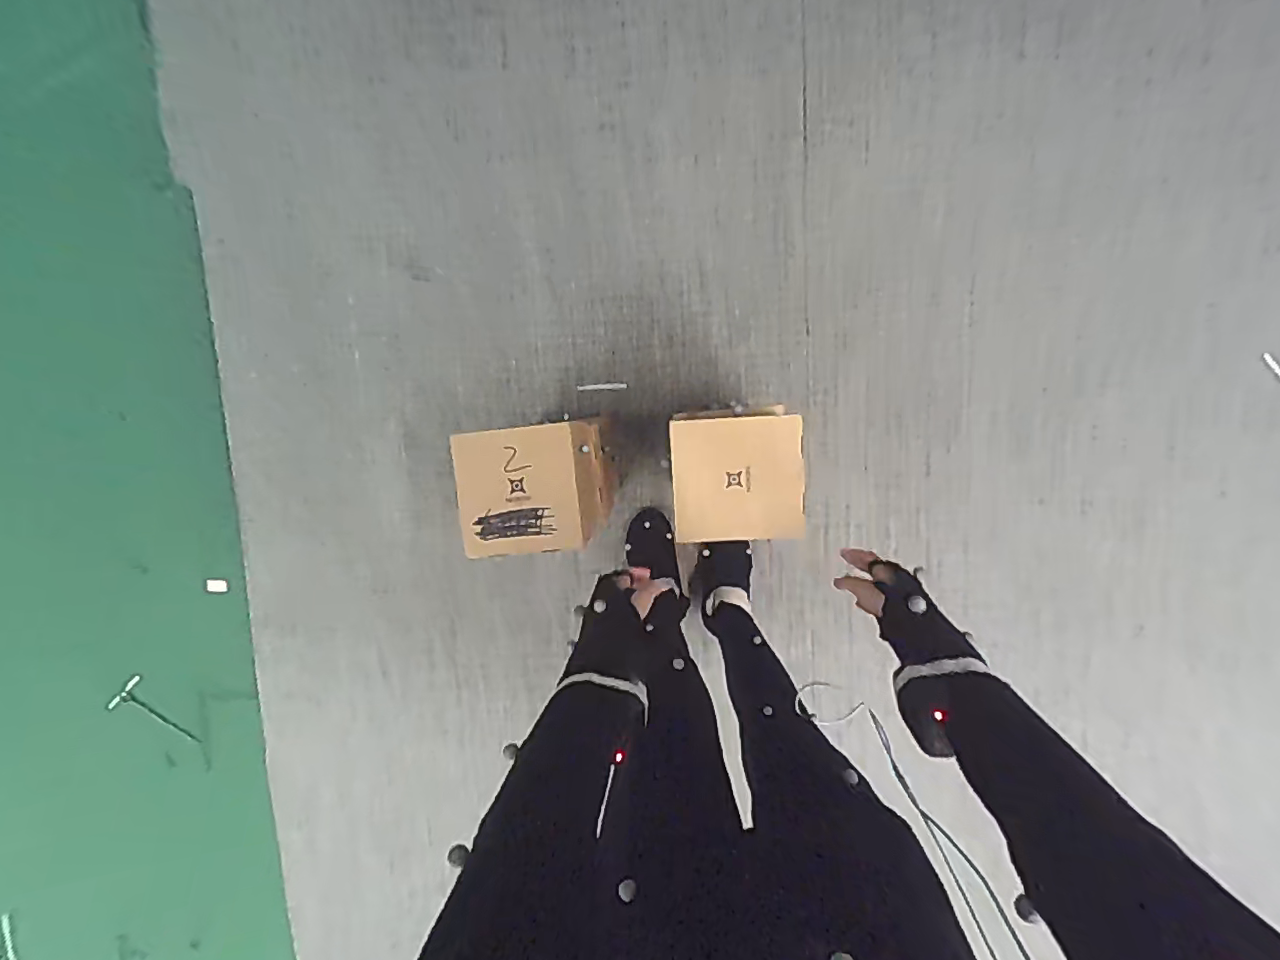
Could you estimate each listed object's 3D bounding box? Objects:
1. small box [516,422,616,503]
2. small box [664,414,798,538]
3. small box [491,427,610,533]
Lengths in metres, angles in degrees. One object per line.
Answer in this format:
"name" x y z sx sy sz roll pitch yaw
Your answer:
"small box" -0.148 -0.034 1.151 0.179 0.176 0.168 -6 96 4
"small box" 0.128 -0.010 0.811 0.179 0.176 0.168 -3 95 2
"small box" -0.152 -0.006 0.991 0.179 0.176 0.168 -6 96 4
